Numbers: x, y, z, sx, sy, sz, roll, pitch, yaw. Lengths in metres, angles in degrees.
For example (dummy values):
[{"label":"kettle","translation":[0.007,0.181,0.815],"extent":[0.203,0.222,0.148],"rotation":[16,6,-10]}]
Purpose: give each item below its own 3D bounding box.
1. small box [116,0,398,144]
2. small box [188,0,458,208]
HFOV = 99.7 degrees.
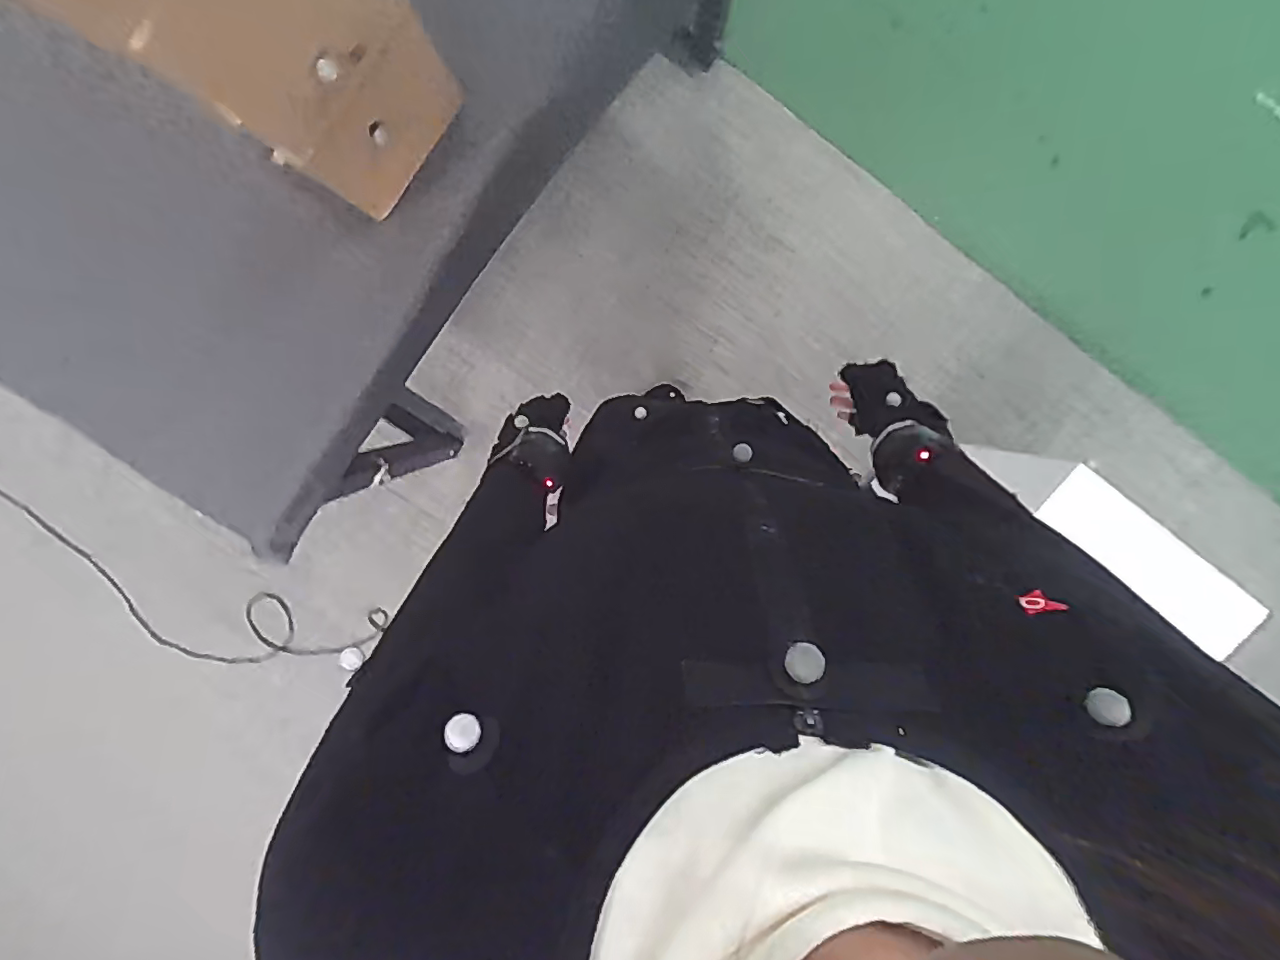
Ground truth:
[{"label":"small box","translation":[-0.320,-0.391,0.388],"extent":[0.179,0.176,0.168],"rotation":[36,98,-2]},{"label":"small box","translation":[-0.318,-0.417,0.551],"extent":[0.168,0.176,0.179],"rotation":[39,99,-4]}]
